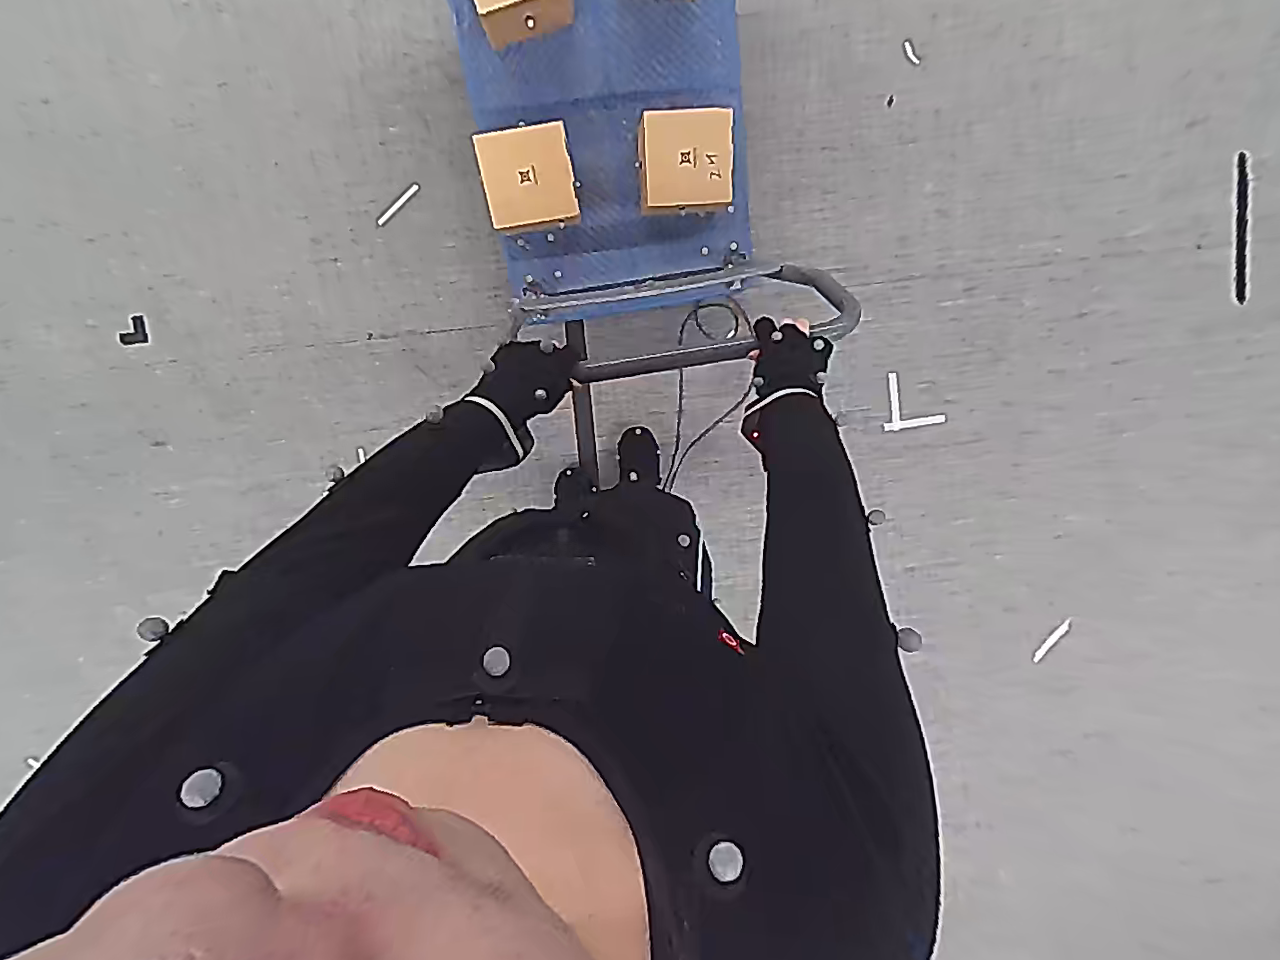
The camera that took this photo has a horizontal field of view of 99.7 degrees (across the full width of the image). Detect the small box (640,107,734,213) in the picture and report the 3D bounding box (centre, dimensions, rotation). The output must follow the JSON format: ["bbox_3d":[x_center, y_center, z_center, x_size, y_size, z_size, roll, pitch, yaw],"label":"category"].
[{"bbox_3d":[0.091,-0.659,1.130,0.179,0.176,0.168,-4,111,-3],"label":"small box"}]

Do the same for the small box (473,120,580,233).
[{"bbox_3d":[-0.224,-0.617,1.119,0.179,0.176,0.168,-11,111,-2],"label":"small box"}]
